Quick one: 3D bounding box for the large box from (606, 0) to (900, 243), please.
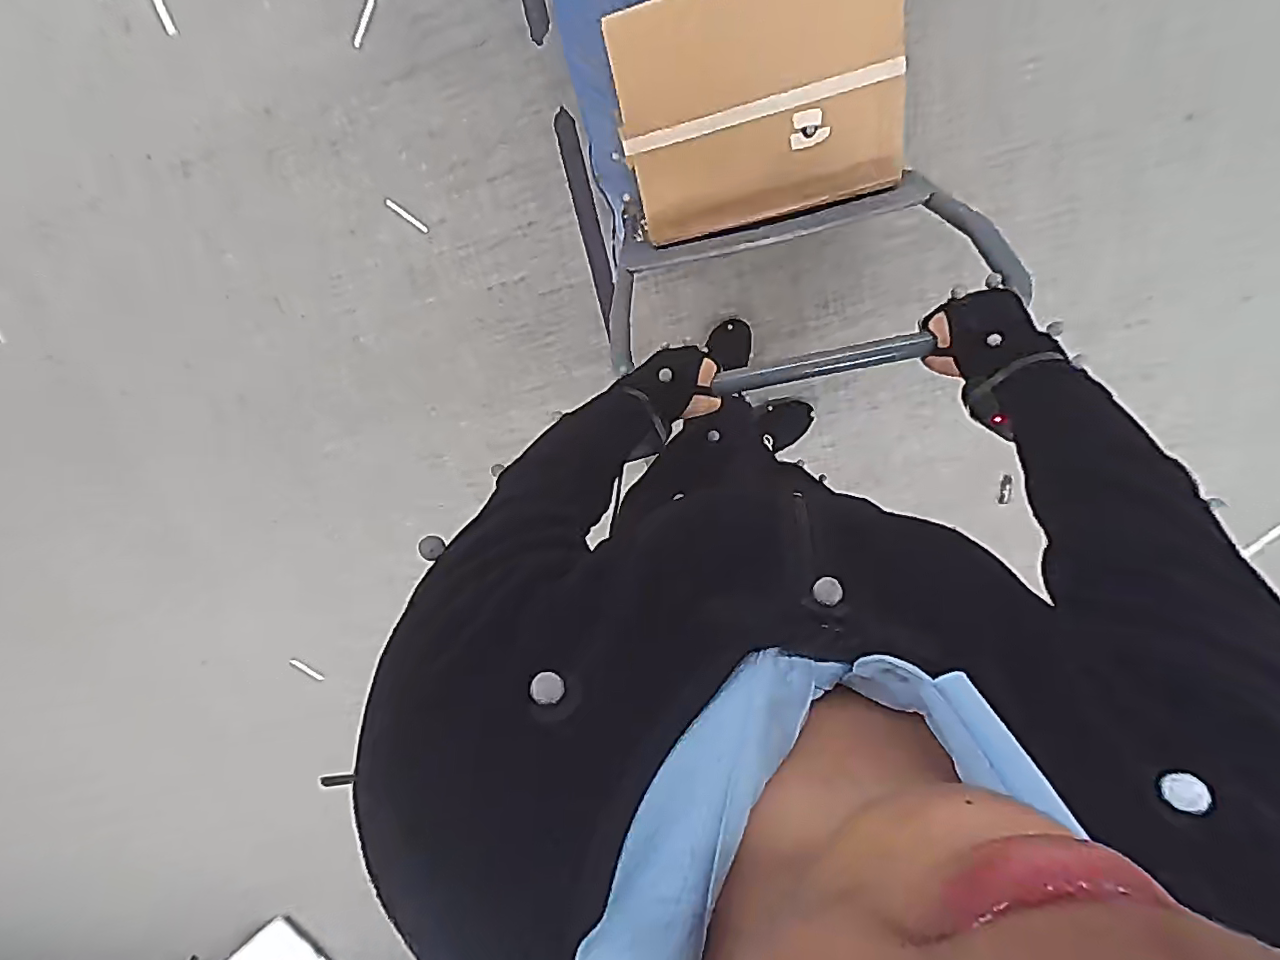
[{"bbox_3d":[0.185,-0.652,0.932,0.408,0.320,0.320,-11,126,10],"label":"large box"}]
